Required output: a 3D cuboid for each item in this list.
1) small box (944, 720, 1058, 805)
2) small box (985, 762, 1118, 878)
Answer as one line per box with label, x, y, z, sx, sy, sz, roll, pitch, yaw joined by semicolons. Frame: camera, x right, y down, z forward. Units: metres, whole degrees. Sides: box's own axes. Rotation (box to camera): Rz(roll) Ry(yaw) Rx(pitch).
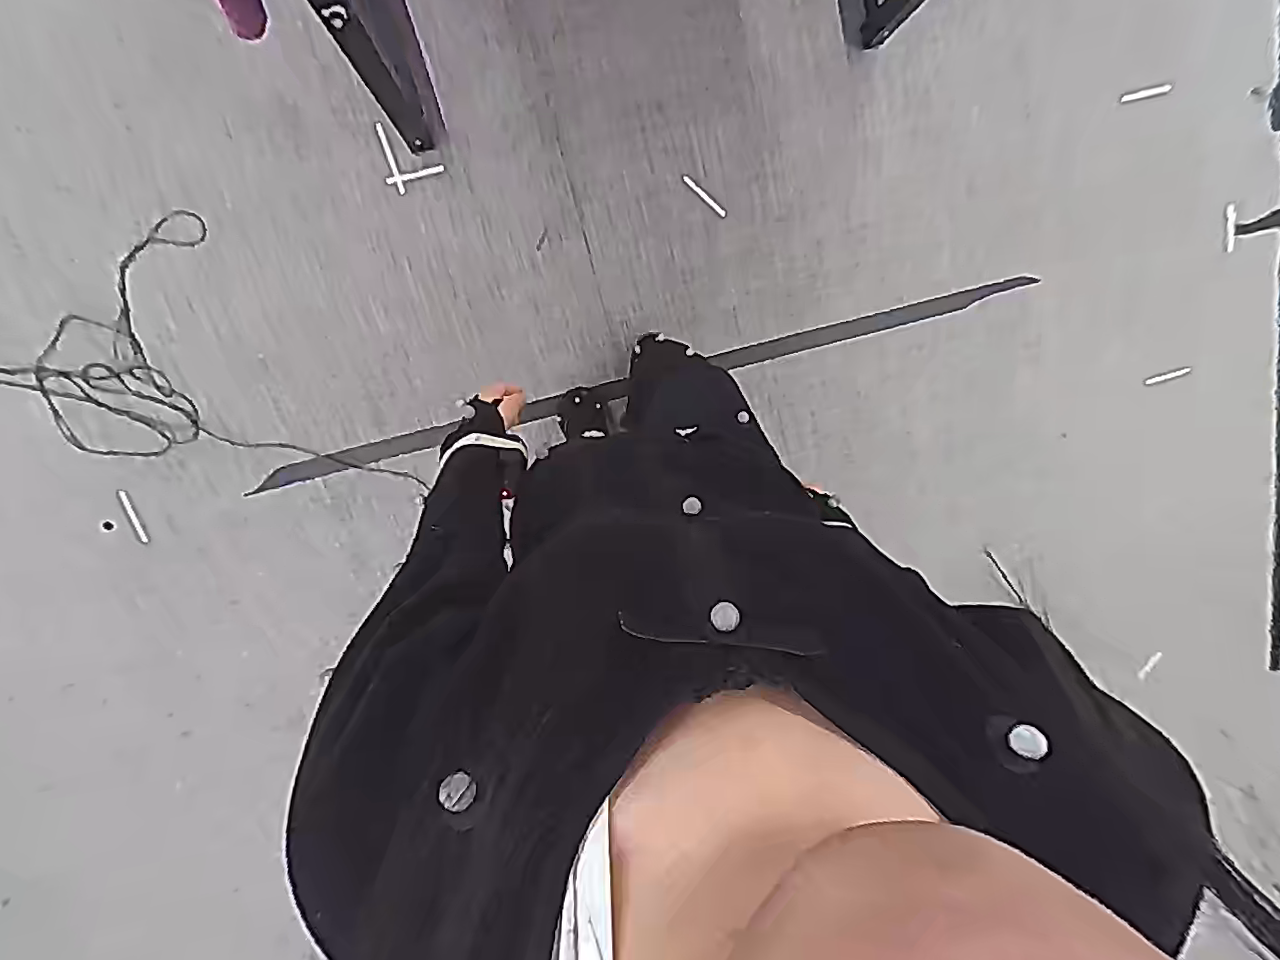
small box;1.021;0.822;1.545;0.179;0.176;0.168;25;99;-14
small box;1.041;0.862;1.385;0.179;0.176;0.168;25;99;-13
